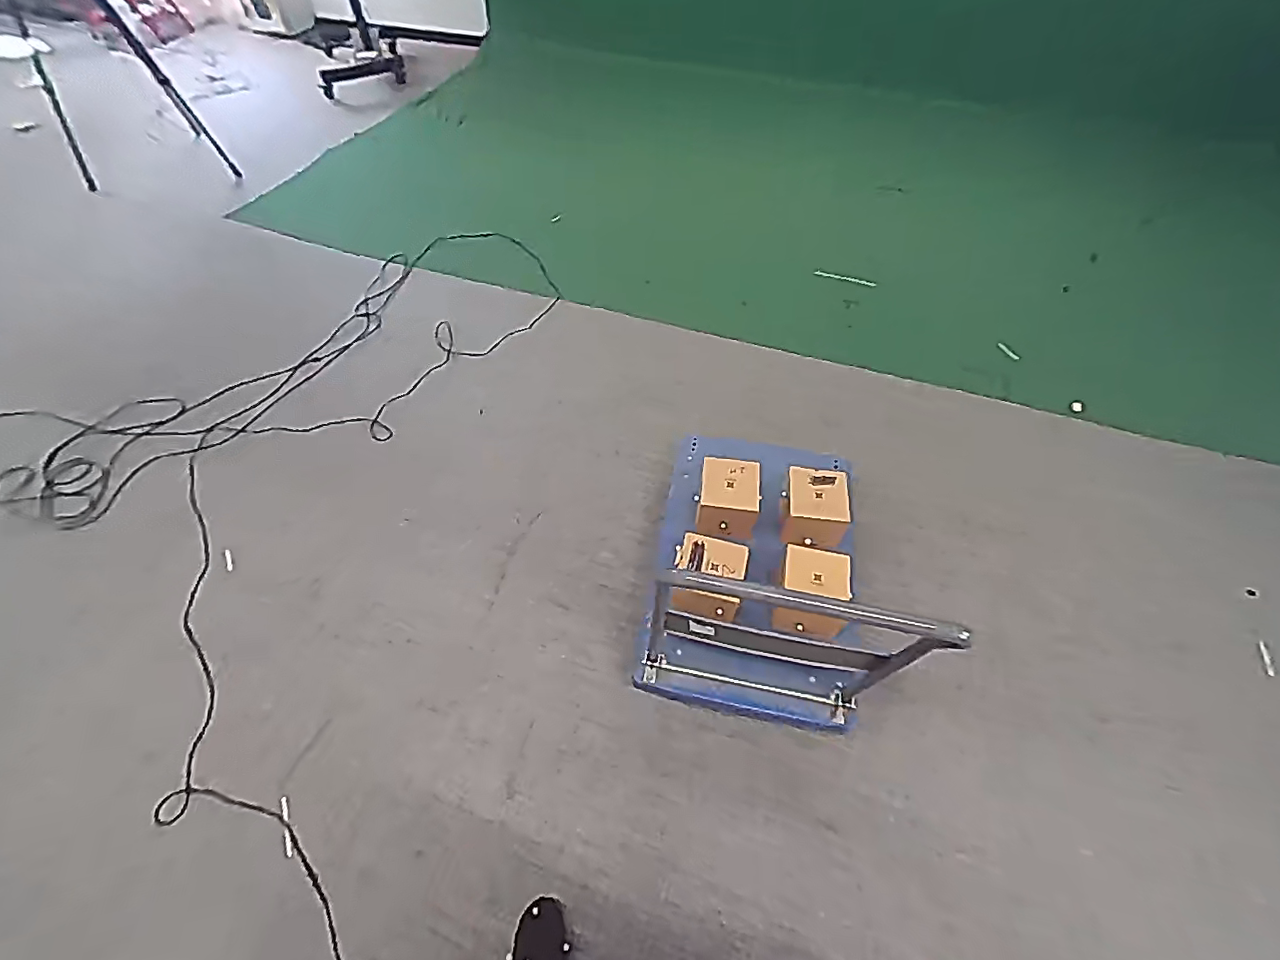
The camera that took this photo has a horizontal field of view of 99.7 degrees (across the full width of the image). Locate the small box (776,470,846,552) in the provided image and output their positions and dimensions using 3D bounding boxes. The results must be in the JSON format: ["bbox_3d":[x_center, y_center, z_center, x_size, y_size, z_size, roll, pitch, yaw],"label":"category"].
[{"bbox_3d":[0.507,0.094,1.626,0.168,0.176,0.179,6,55,5],"label":"small box"}]

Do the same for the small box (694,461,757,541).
[{"bbox_3d":[0.258,0.067,1.645,0.168,0.176,0.179,7,54,4],"label":"small box"}]

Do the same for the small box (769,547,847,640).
[{"bbox_3d":[0.453,0.310,1.471,0.168,0.176,0.179,10,55,7],"label":"small box"}]
